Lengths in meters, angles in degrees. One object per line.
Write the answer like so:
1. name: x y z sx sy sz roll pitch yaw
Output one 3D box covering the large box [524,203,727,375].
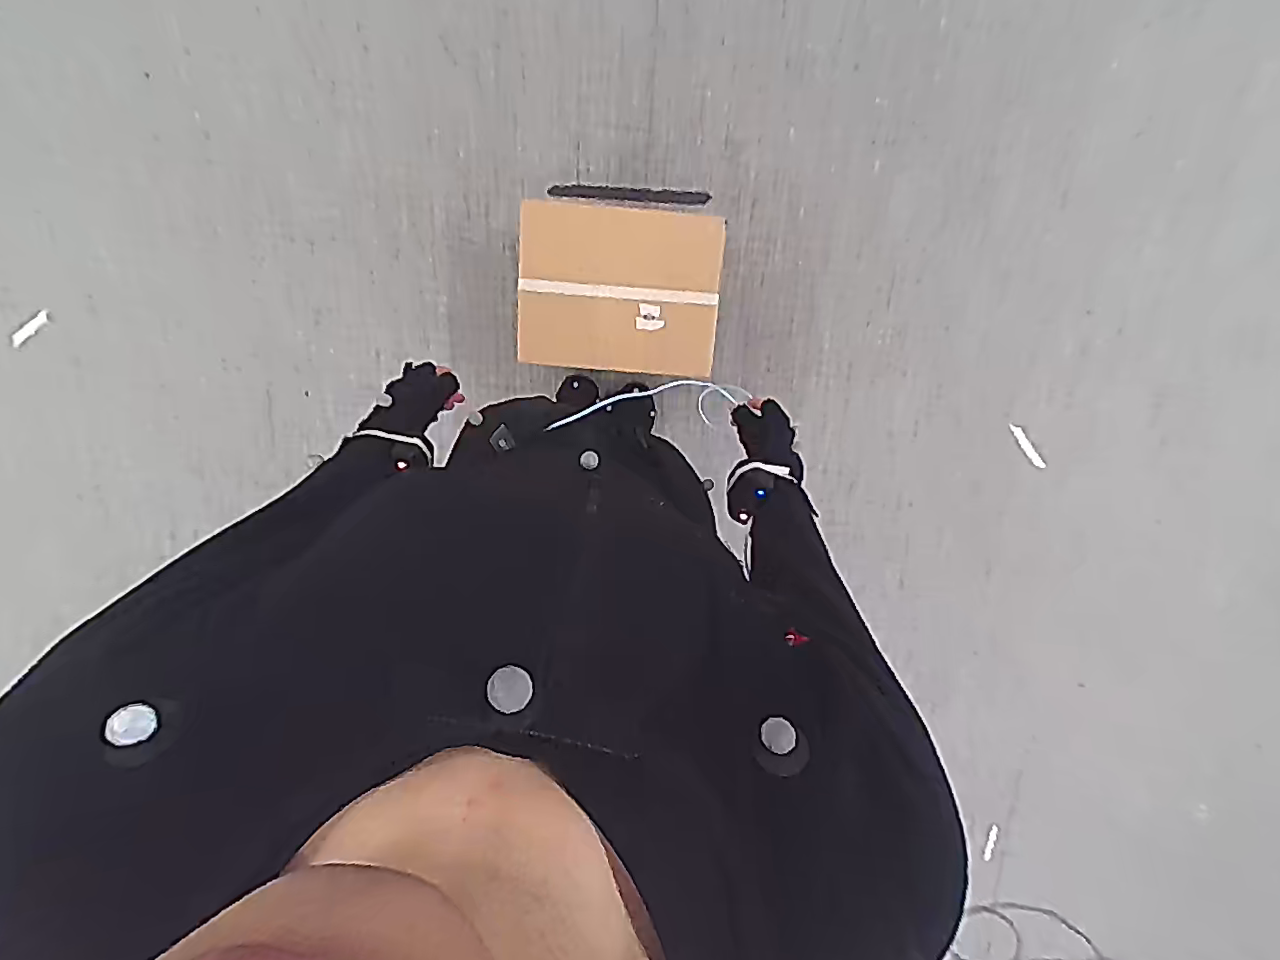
1. large box: -0.040 -0.417 1.244 0.408 0.320 0.320 4 104 -2
